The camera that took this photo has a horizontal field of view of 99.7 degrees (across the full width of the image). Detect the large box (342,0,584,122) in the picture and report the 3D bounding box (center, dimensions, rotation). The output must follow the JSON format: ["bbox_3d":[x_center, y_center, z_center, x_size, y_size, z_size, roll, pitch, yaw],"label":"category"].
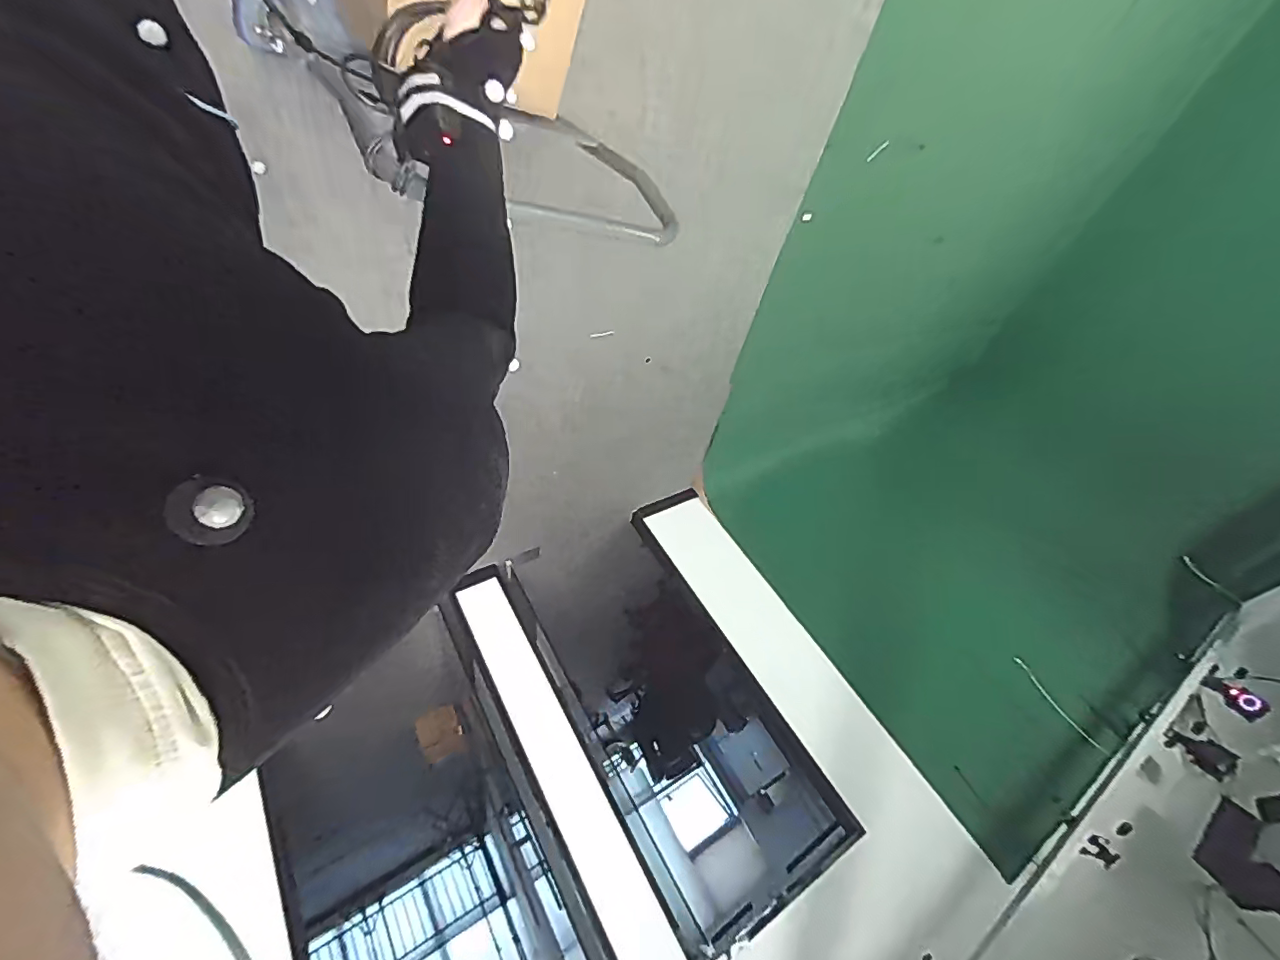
[{"bbox_3d":[-0.285,-0.900,0.890,0.320,0.320,0.408,-10,141,-39],"label":"large box"}]
